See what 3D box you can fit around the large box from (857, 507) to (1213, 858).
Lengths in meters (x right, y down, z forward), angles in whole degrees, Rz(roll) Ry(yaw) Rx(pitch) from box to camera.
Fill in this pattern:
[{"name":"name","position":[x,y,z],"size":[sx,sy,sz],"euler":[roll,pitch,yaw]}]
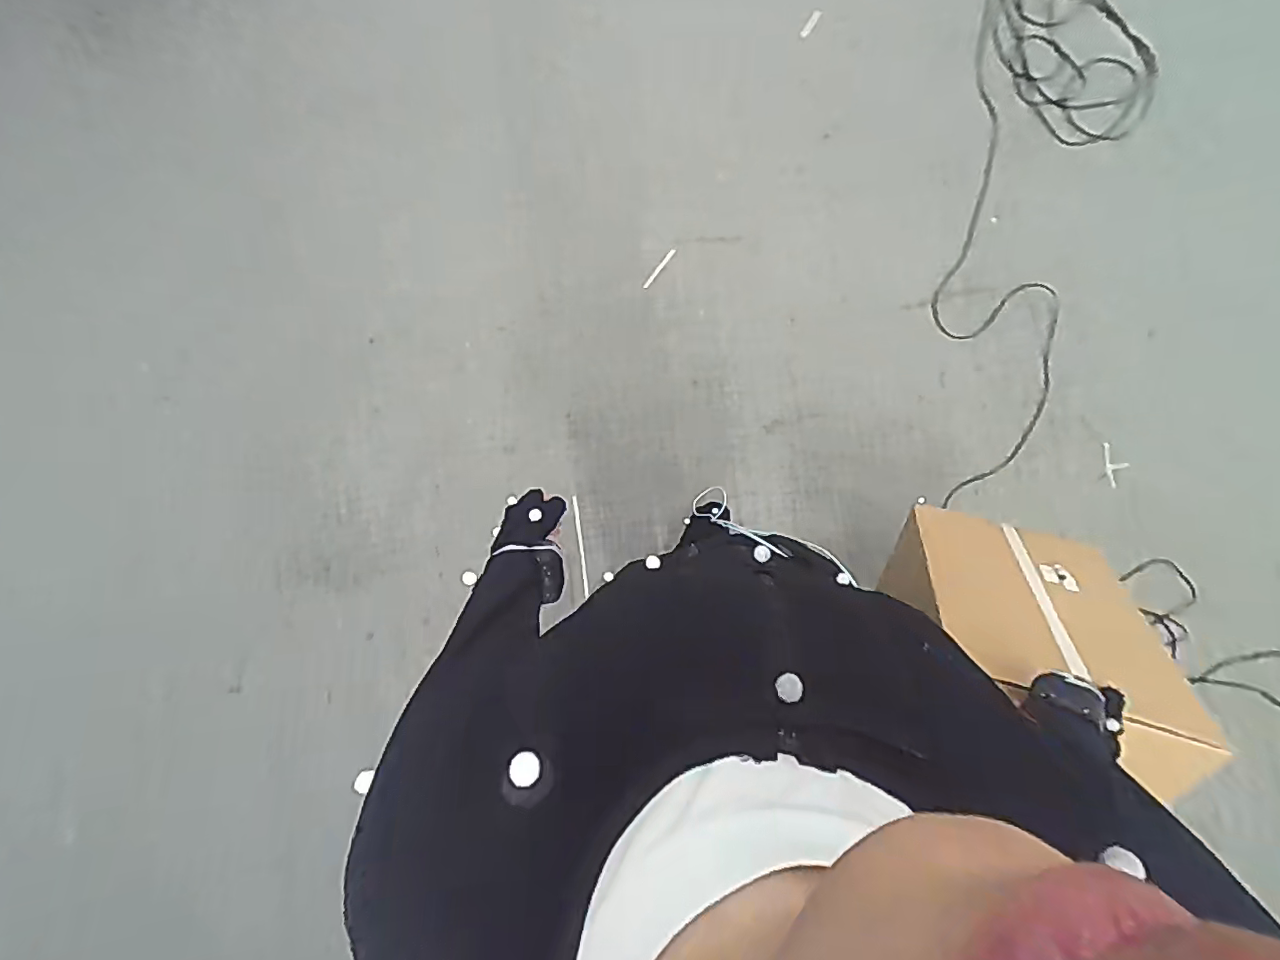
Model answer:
[{"name":"large box","position":[0.575,0.309,0.908],"size":[0.320,0.408,0.320],"euler":[17,123,10]}]
